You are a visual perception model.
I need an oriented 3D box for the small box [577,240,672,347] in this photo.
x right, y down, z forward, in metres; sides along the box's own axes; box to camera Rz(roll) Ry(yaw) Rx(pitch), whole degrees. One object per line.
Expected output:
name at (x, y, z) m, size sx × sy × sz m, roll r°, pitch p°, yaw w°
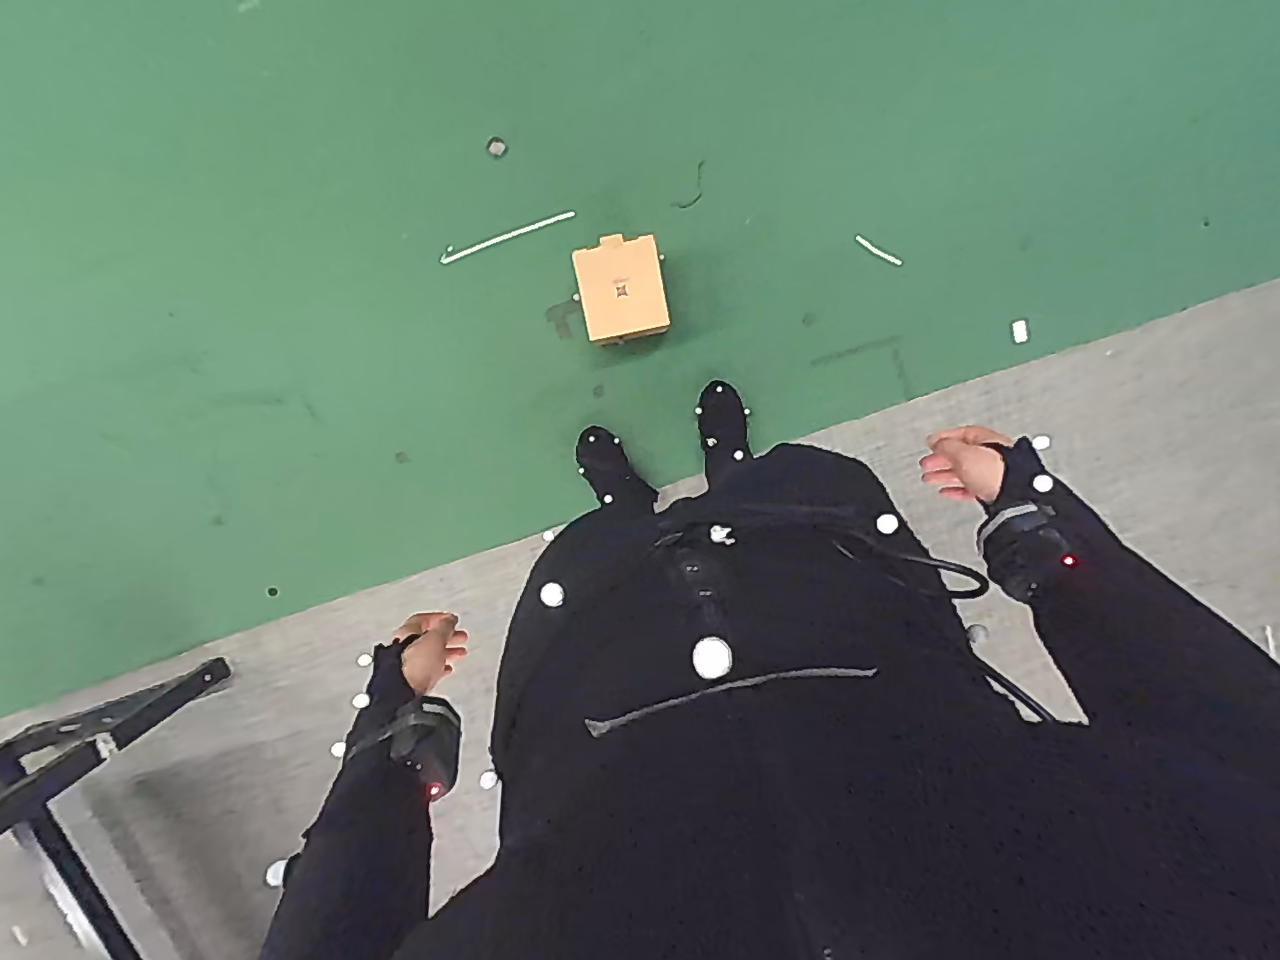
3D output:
small box at (-0.028, -0.383, 1.144) m, size 0.168 × 0.176 × 0.179 m, roll -11°, pitch 99°, yaw 2°
